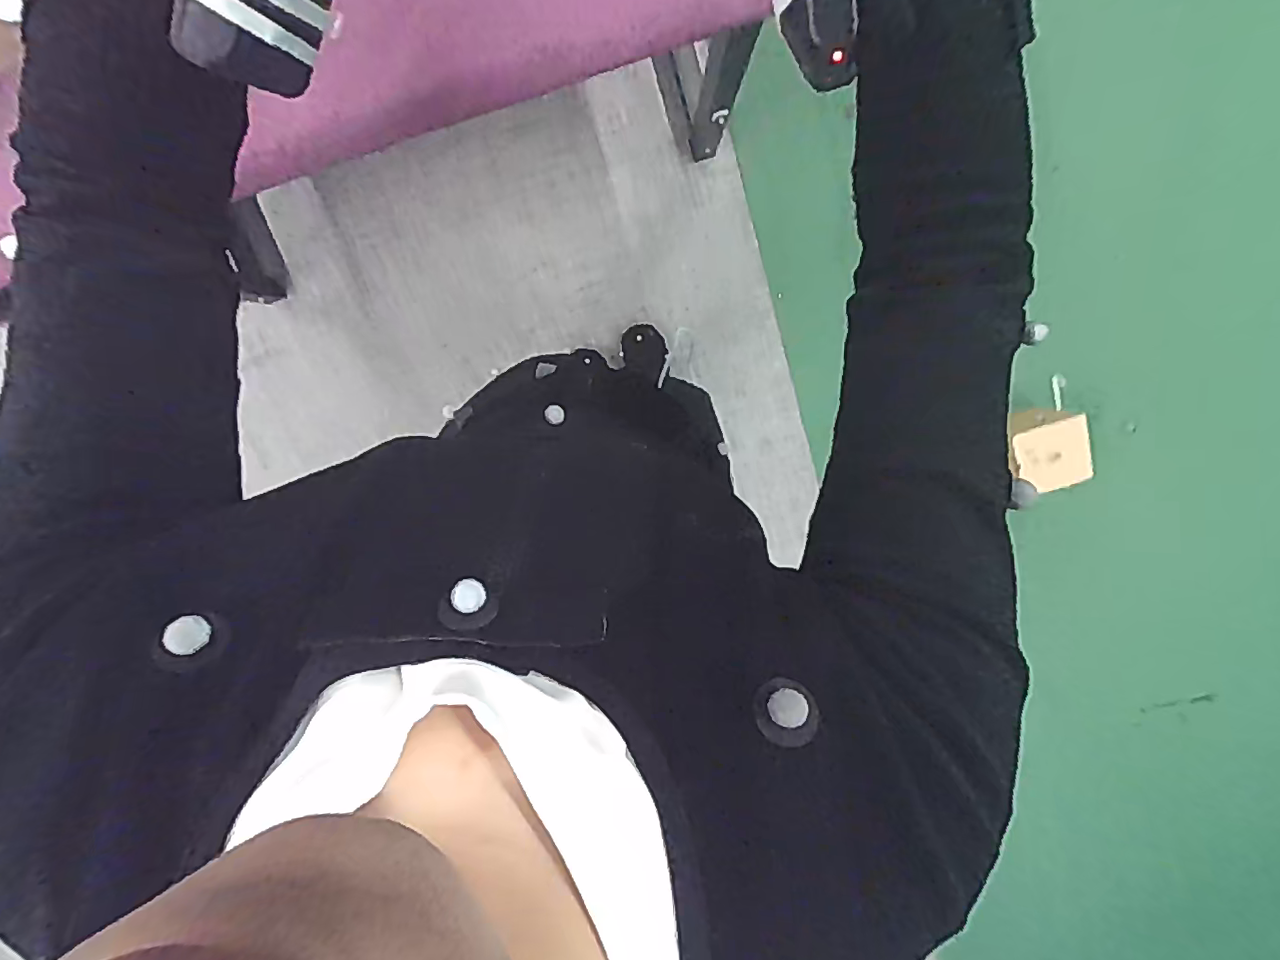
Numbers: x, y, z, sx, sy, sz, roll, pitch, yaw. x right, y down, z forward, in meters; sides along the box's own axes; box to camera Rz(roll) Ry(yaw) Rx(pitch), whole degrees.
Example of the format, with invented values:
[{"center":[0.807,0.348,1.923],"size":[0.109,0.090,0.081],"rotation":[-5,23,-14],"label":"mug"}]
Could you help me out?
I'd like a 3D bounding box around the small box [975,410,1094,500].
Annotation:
[{"center":[0.995,-0.070,1.374],"size":[0.179,0.176,0.168],"rotation":[-17,103,5],"label":"small box"}]
